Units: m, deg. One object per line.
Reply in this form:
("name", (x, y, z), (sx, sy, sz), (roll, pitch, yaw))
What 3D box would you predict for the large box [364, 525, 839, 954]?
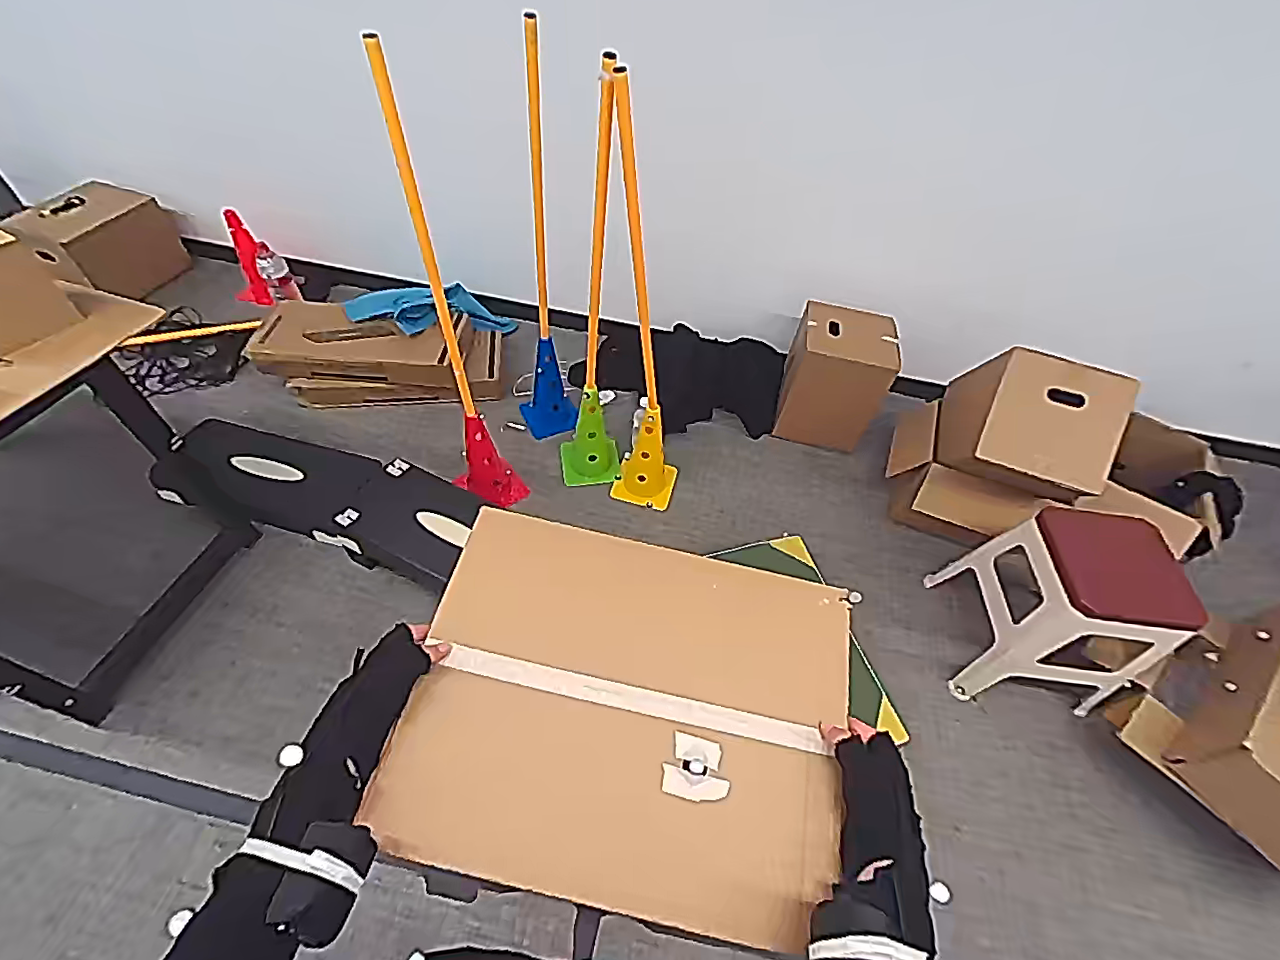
("large box", (-0.023, 0.290, 0.641), (0.408, 0.320, 0.320), (13, 60, 1))
